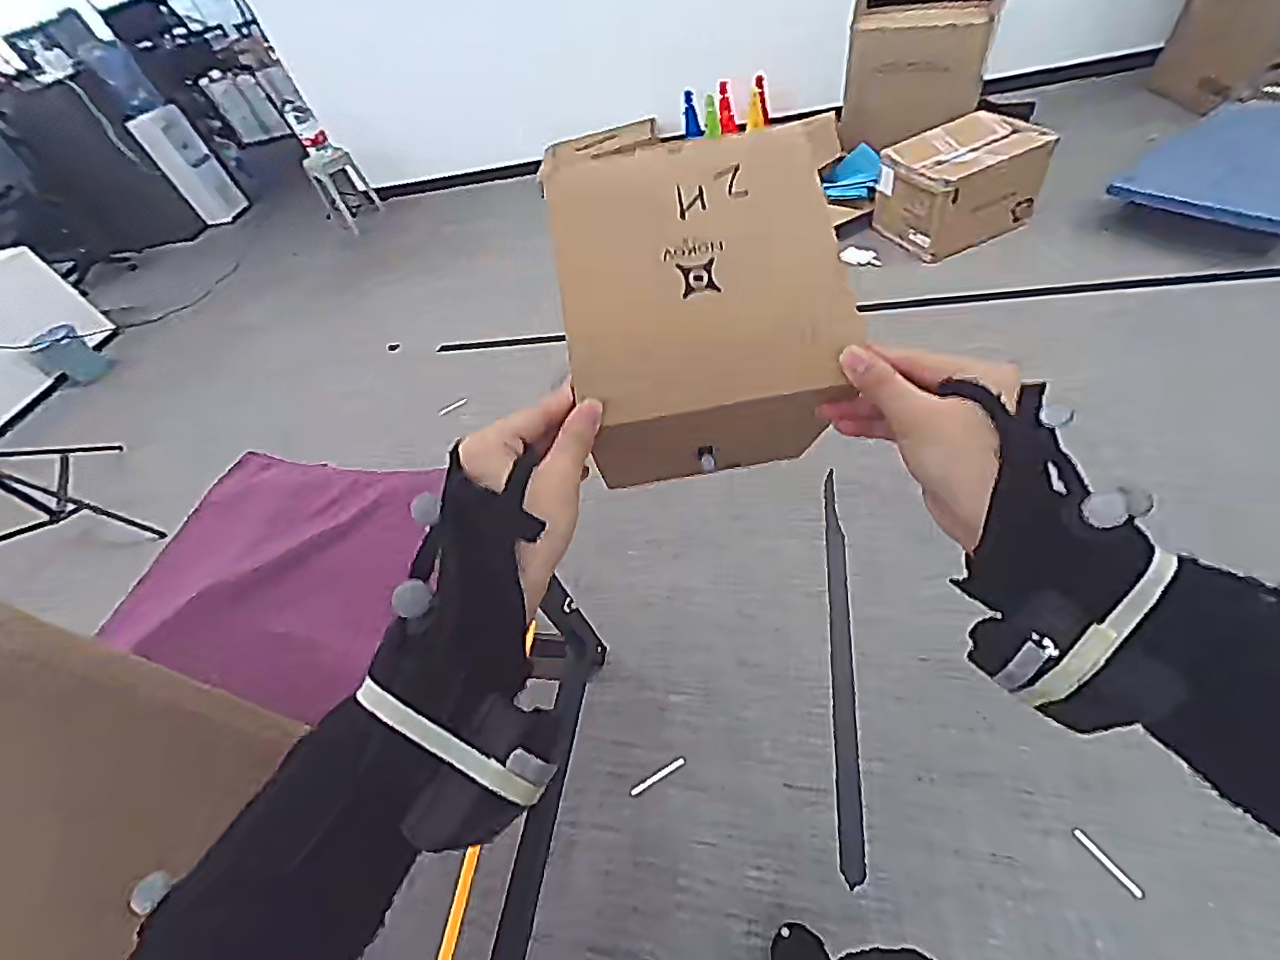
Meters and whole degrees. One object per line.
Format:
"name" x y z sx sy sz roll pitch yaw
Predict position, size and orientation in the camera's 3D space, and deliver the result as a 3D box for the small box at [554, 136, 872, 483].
"small box" 0.042 -0.102 0.398 0.168 0.176 0.179 -9 76 0
